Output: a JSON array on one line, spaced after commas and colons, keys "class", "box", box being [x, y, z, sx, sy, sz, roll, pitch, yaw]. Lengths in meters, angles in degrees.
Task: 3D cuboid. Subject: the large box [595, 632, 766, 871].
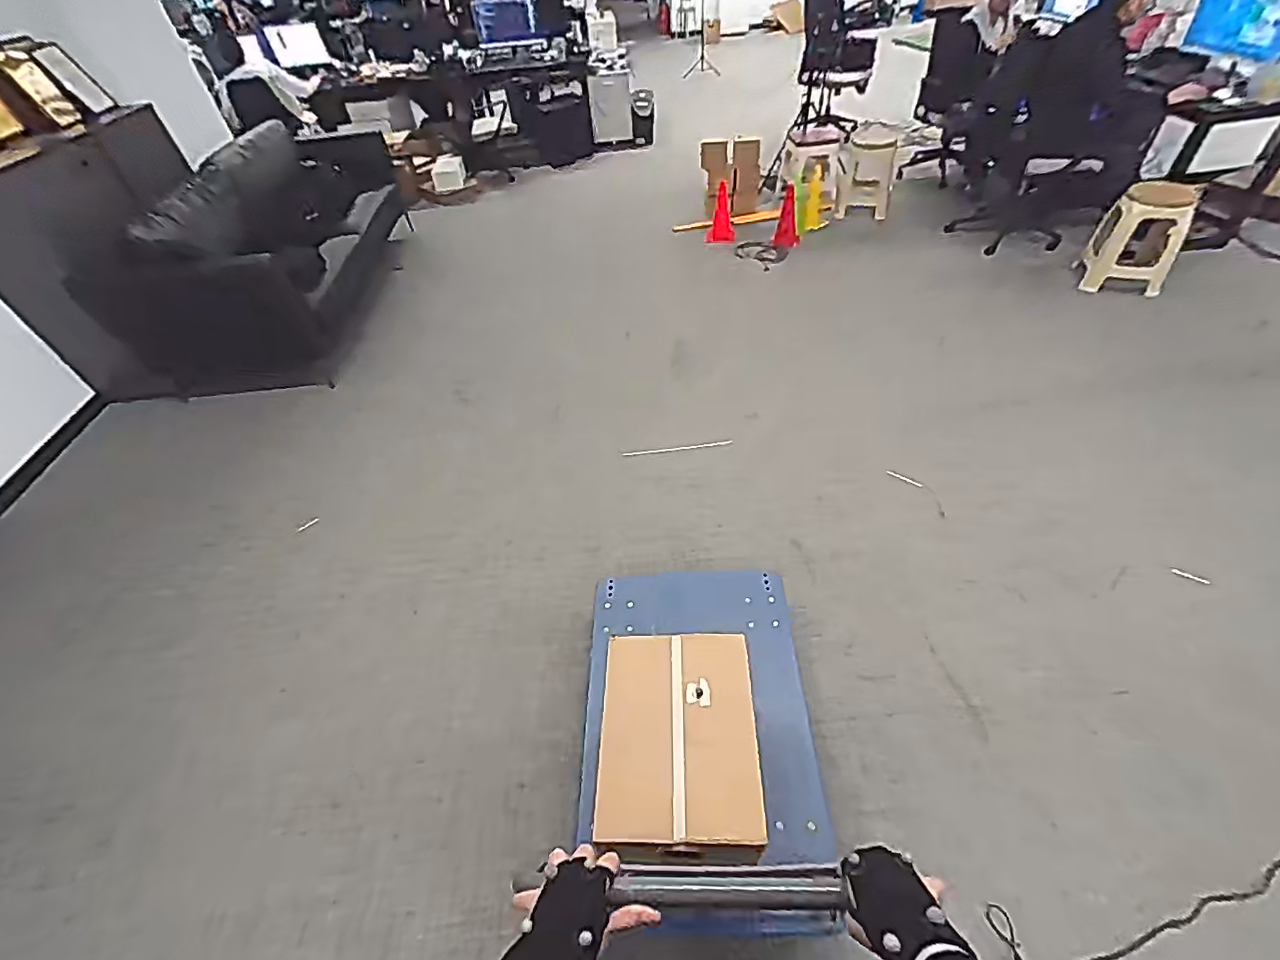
[{"class": "large box", "box": [0.088, 0.601, 1.205, 0.320, 0.320, 0.408, -2, 45, 4]}]
